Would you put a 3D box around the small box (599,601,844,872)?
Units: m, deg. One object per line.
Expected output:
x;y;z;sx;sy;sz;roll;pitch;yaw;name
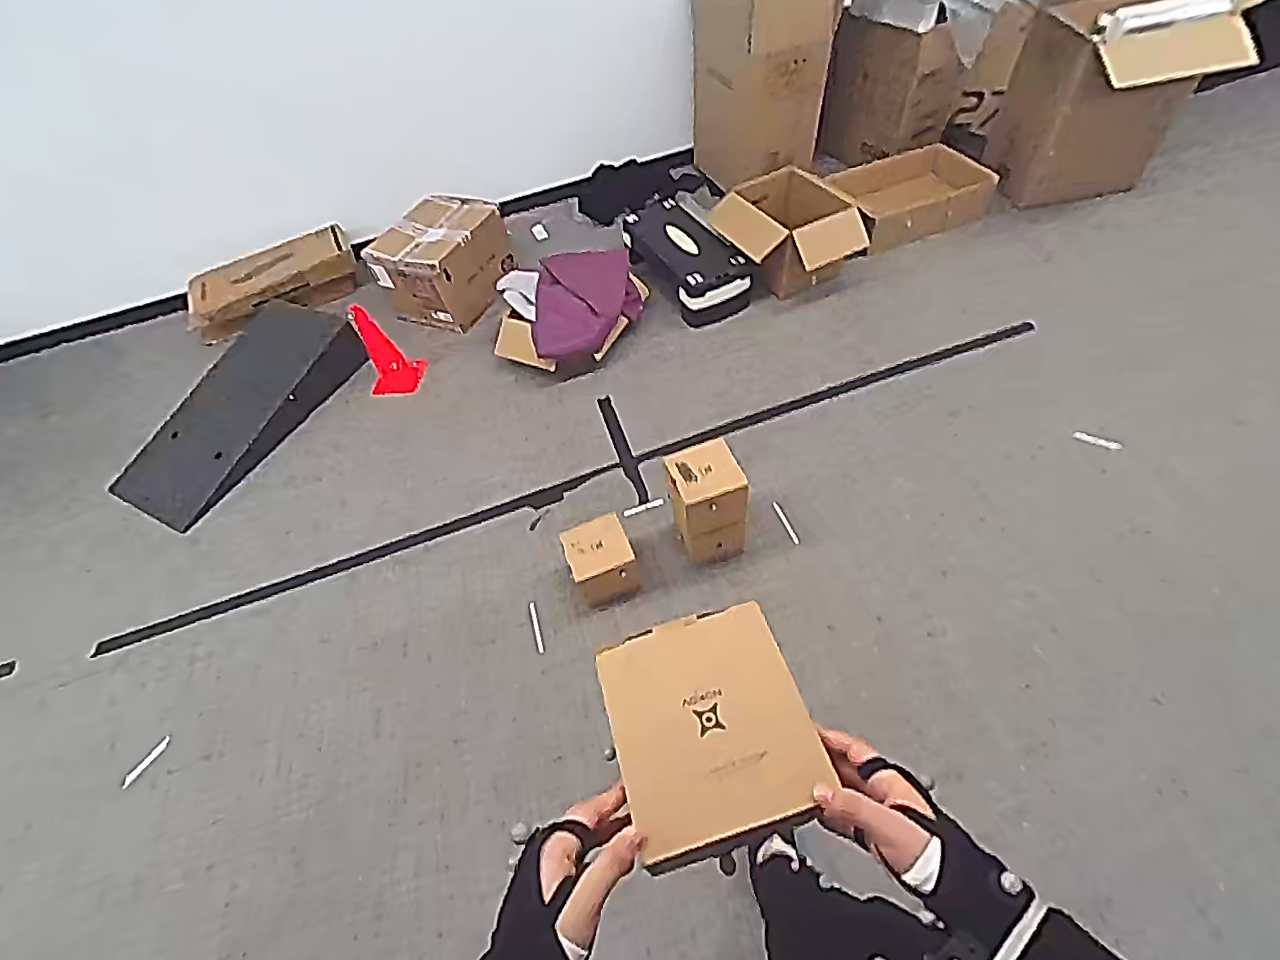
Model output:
0.065;0.250;0.525;0.168;0.176;0.179;-15;52;-6;small box

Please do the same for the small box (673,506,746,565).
0.203;0.132;1.586;0.168;0.176;0.179;-17;54;-5;small box

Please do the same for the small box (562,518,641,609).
-0.105;0.241;1.548;0.179;0.176;0.168;-21;54;-7;small box

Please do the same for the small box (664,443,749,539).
0.179;0.036;1.453;0.179;0.176;0.168;-18;53;-6;small box
